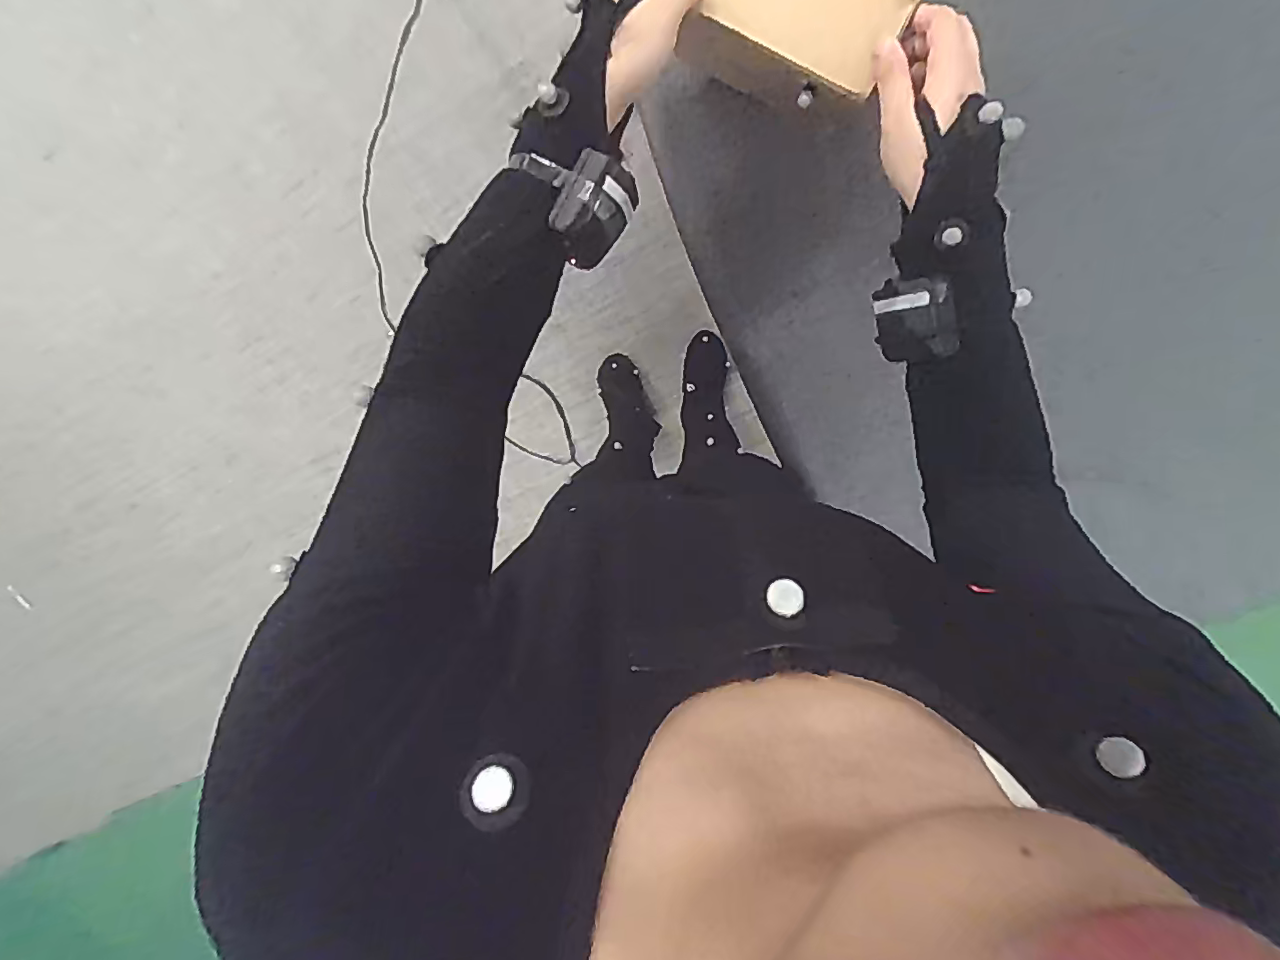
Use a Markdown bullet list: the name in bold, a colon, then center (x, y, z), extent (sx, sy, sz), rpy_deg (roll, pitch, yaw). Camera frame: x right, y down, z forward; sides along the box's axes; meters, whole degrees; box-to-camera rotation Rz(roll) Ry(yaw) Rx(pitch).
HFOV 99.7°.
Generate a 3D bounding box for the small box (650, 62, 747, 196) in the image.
- **small box**: center (0.123, -0.729, 1.144), extent (0.168, 0.176, 0.179), rpy_deg (-13, 107, 10)
